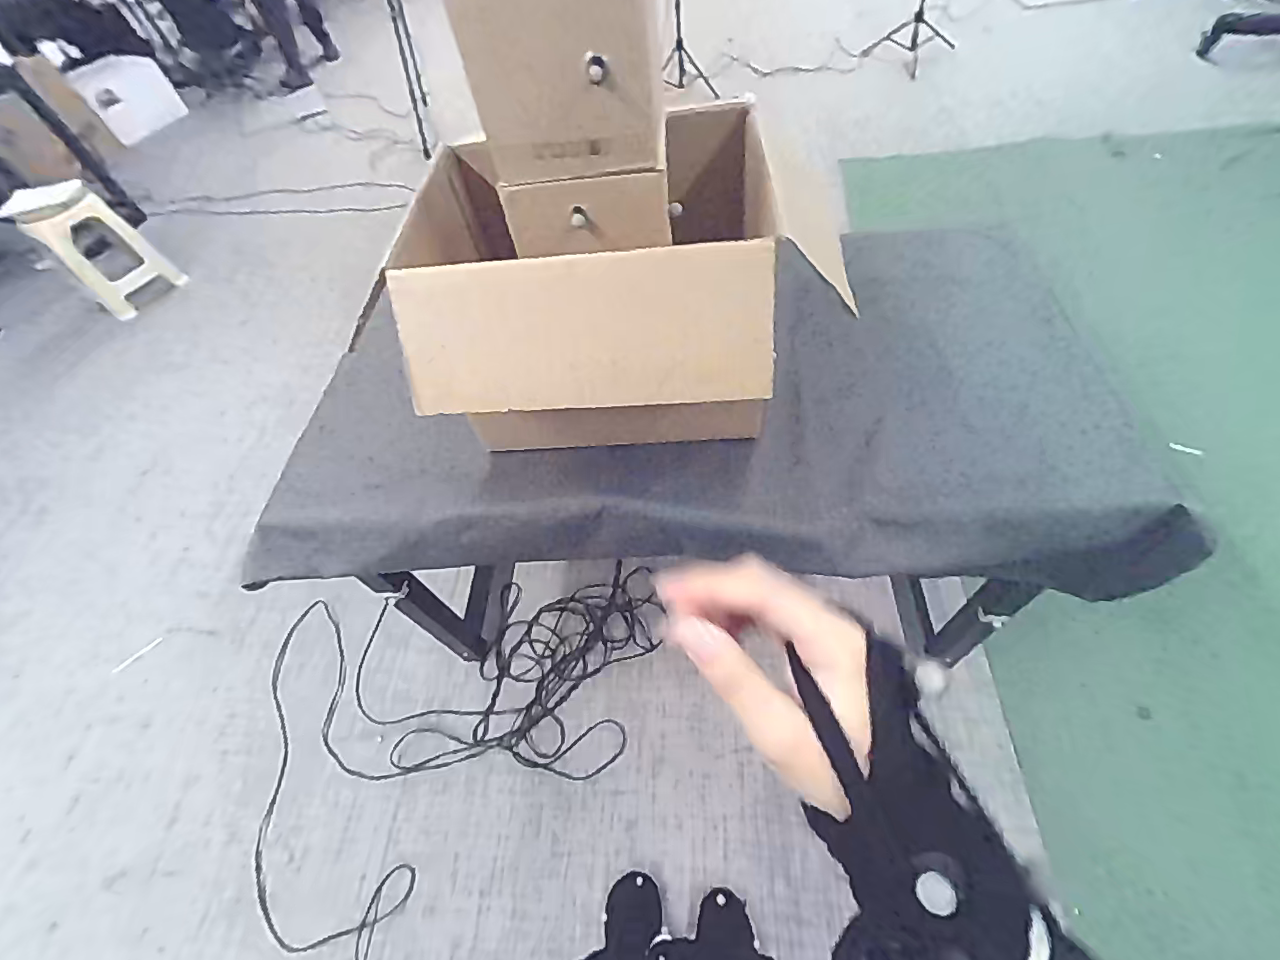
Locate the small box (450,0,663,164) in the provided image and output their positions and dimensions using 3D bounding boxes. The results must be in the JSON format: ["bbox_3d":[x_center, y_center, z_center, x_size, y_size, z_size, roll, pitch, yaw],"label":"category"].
[{"bbox_3d":[-0.065,-0.431,0.529,0.168,0.176,0.179,-1,54,6],"label":"small box"}]

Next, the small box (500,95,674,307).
[{"bbox_3d":[-0.048,-0.332,0.657,0.179,0.176,0.168,-2,55,6],"label":"small box"}]
